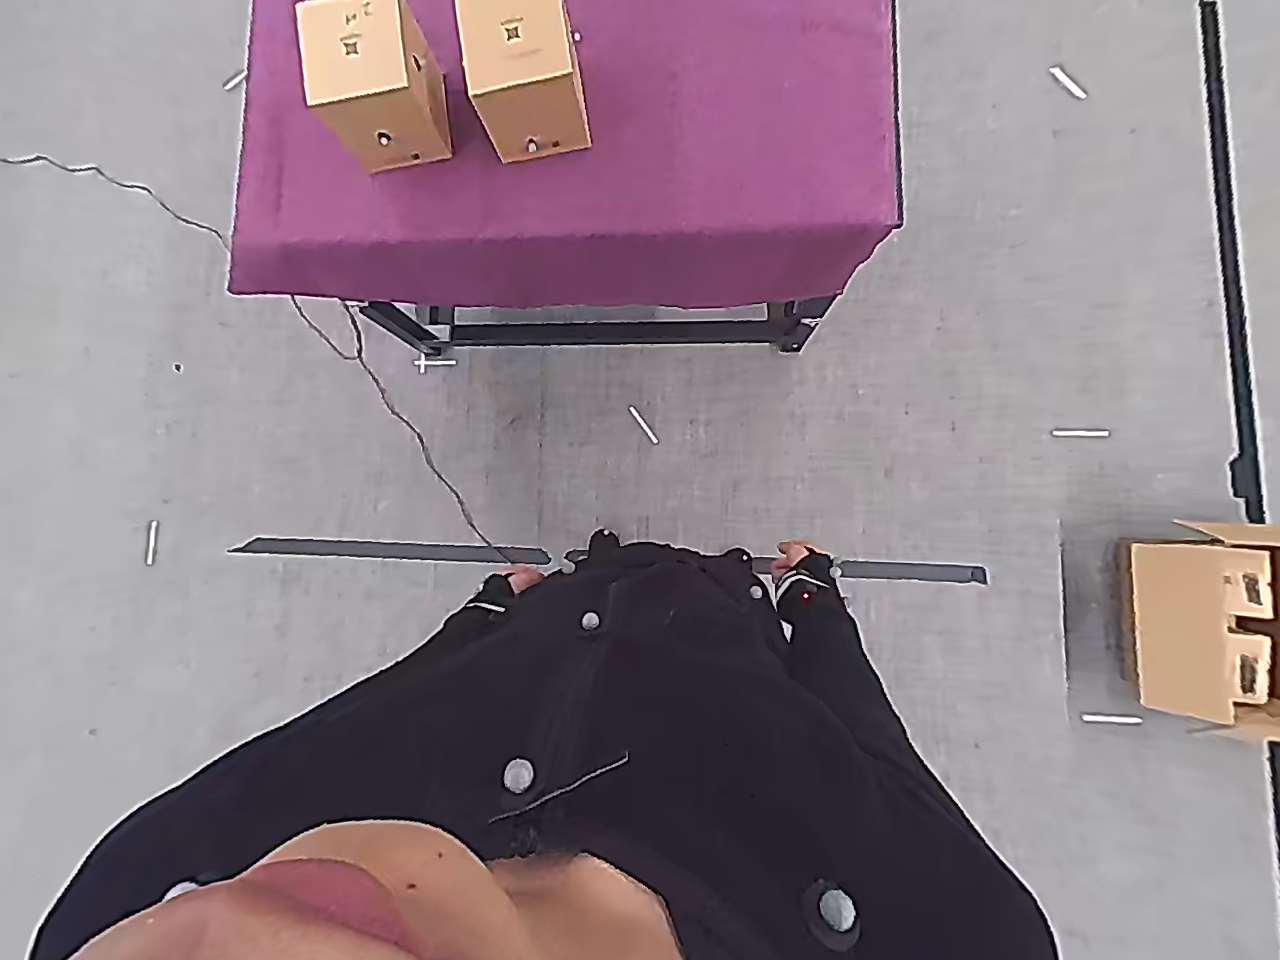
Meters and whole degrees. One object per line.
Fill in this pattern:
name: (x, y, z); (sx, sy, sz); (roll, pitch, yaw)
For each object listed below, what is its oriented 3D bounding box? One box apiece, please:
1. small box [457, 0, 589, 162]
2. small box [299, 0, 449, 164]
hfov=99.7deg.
small box: (-0.186, -0.676, 0.901); (0.168, 0.176, 0.179); (-9, 85, 4)
small box: (-0.439, -0.668, 0.916); (0.168, 0.176, 0.179); (-8, 85, 3)
